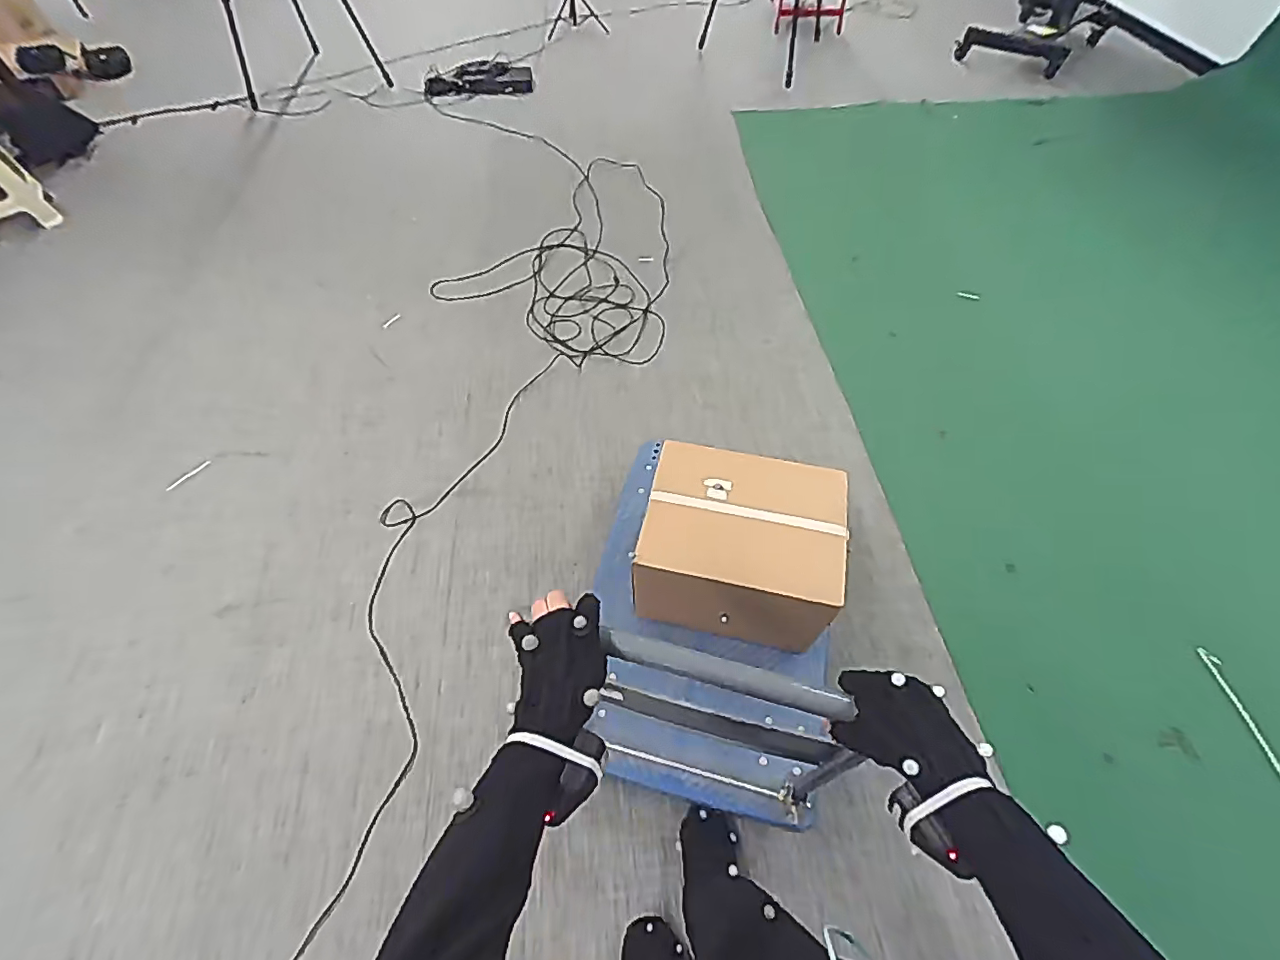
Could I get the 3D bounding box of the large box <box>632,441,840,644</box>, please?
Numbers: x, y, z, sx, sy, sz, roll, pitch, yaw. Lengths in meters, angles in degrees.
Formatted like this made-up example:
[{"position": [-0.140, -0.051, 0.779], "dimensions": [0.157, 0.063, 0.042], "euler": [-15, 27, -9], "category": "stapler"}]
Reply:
[{"position": [0.212, 0.150, 1.237], "dimensions": [0.408, 0.320, 0.320], "euler": [10, 57, 8], "category": "large box"}]
